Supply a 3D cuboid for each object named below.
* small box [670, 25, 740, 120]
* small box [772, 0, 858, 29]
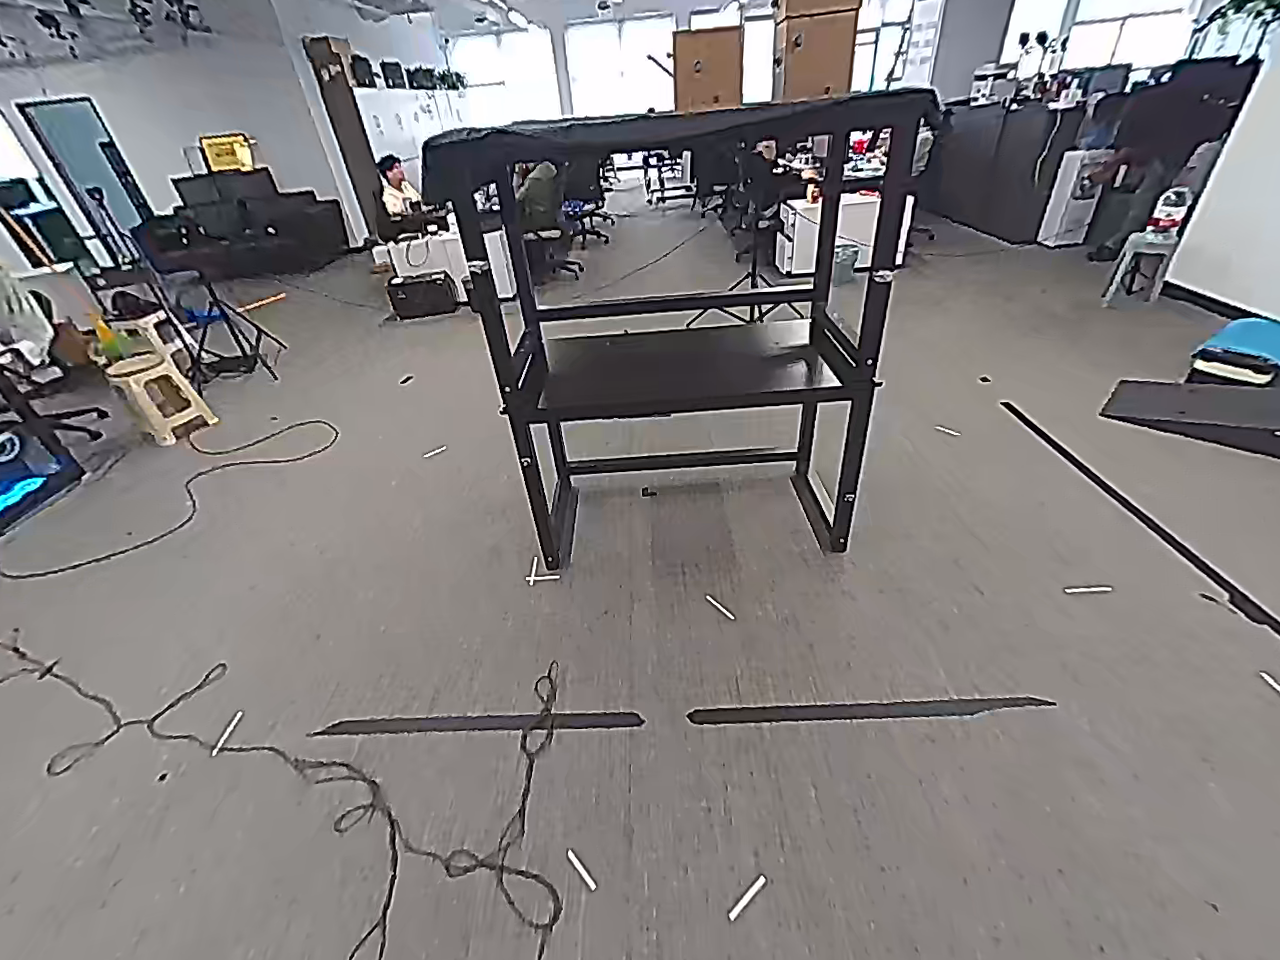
[{"bbox_3d":[0.165,-1.027,1.374,0.168,0.176,0.179,-2,34,5],"label":"small box"},{"bbox_3d":[0.409,-1.168,1.250,0.179,0.176,0.168,-5,32,4],"label":"small box"}]
